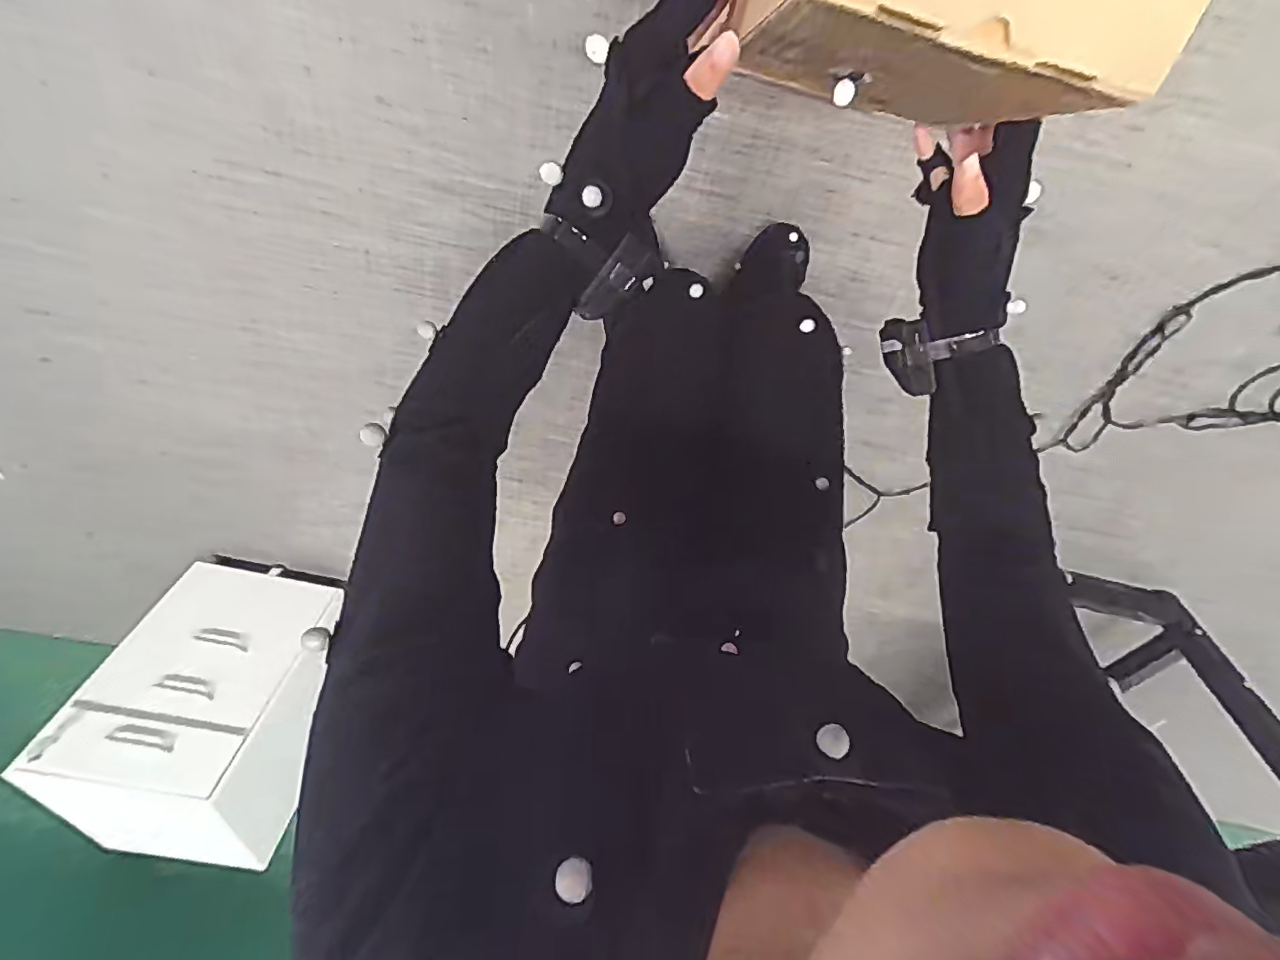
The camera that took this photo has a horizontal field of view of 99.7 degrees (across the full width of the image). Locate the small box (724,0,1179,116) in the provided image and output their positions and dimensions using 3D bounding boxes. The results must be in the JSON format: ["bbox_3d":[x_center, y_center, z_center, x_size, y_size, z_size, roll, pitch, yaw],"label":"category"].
[{"bbox_3d":[0.151,-0.299,0.257,0.168,0.176,0.179,8,119,-10],"label":"small box"}]

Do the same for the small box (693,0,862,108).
[{"bbox_3d":[0.148,-0.391,0.392,0.179,0.176,0.168,8,119,-10],"label":"small box"}]
